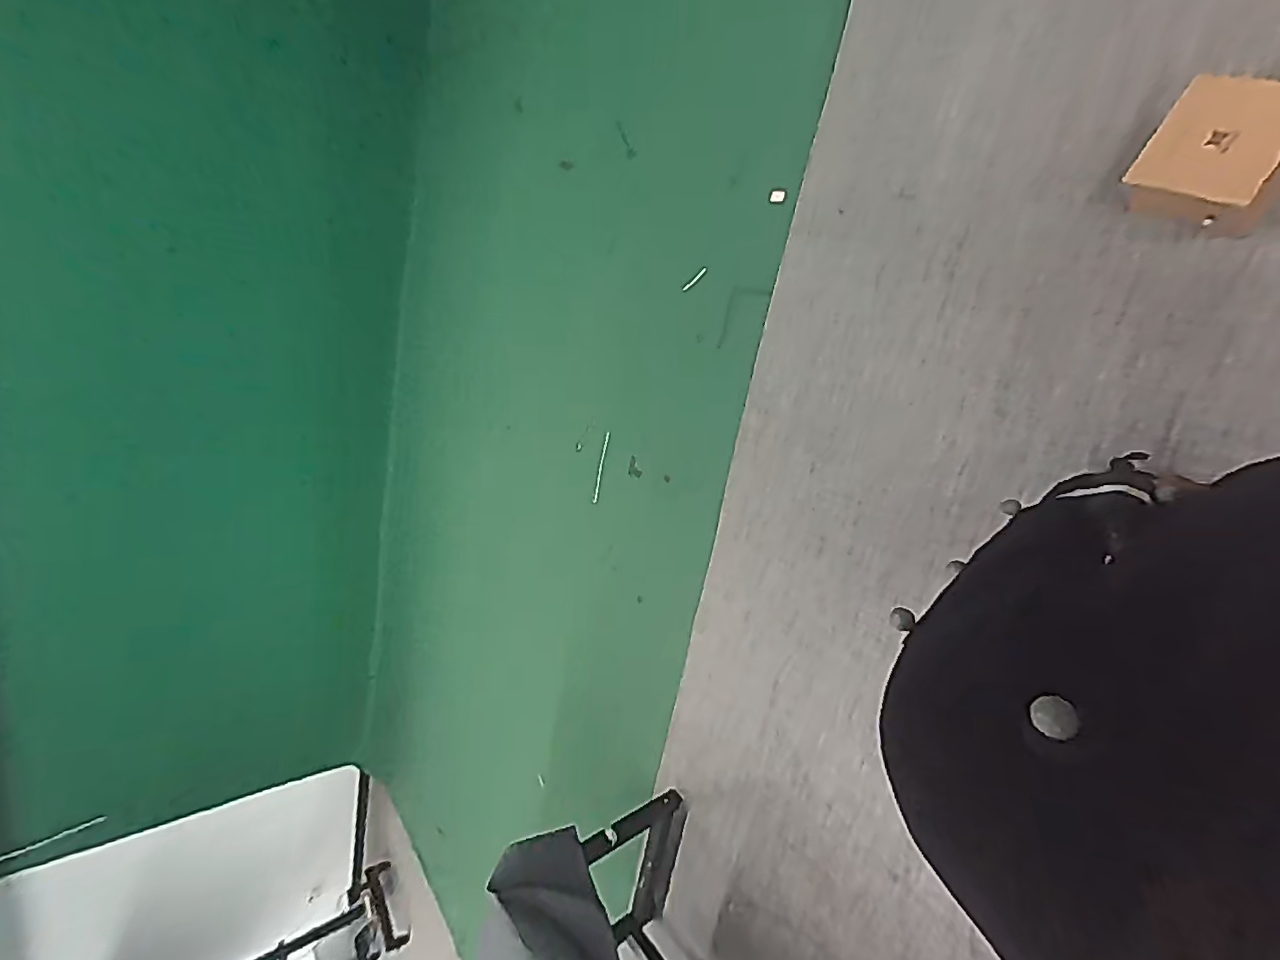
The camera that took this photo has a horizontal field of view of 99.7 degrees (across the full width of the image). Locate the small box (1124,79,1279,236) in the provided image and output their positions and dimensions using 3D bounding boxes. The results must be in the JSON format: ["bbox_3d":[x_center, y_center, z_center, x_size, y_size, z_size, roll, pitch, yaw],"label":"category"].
[{"bbox_3d":[0.962,-0.519,0.883,0.179,0.176,0.168,47,123,42],"label":"small box"}]
